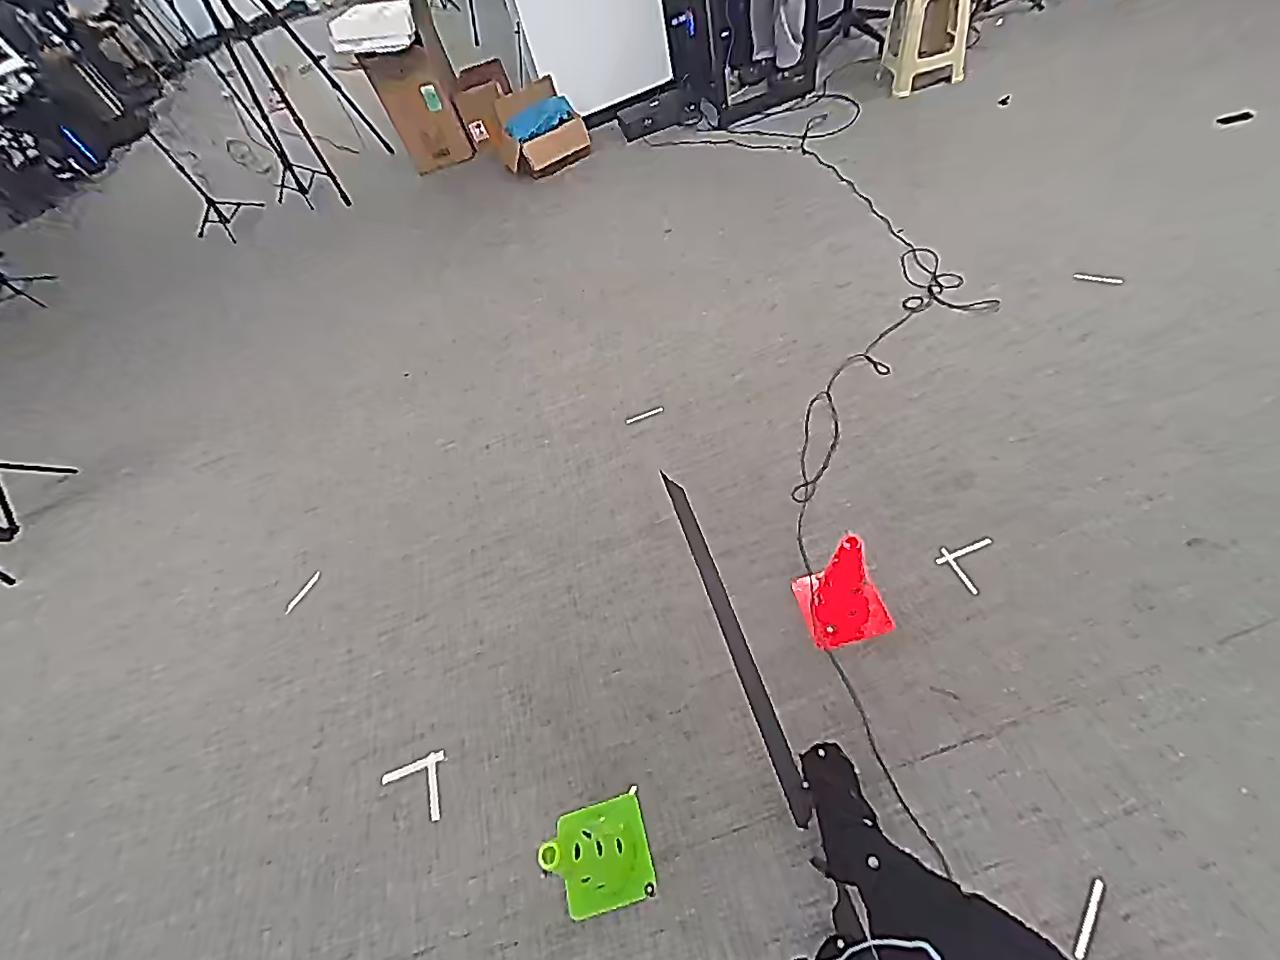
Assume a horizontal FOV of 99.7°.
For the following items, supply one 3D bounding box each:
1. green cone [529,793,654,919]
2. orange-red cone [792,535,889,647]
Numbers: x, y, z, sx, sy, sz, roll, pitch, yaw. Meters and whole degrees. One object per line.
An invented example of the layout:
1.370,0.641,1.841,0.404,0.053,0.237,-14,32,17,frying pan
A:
-0.124,0.737,1.071,0.202,0.368,0.200,-21,52,2,green cone
0.479,0.226,1.264,0.199,0.360,0.198,-16,54,3,orange-red cone
